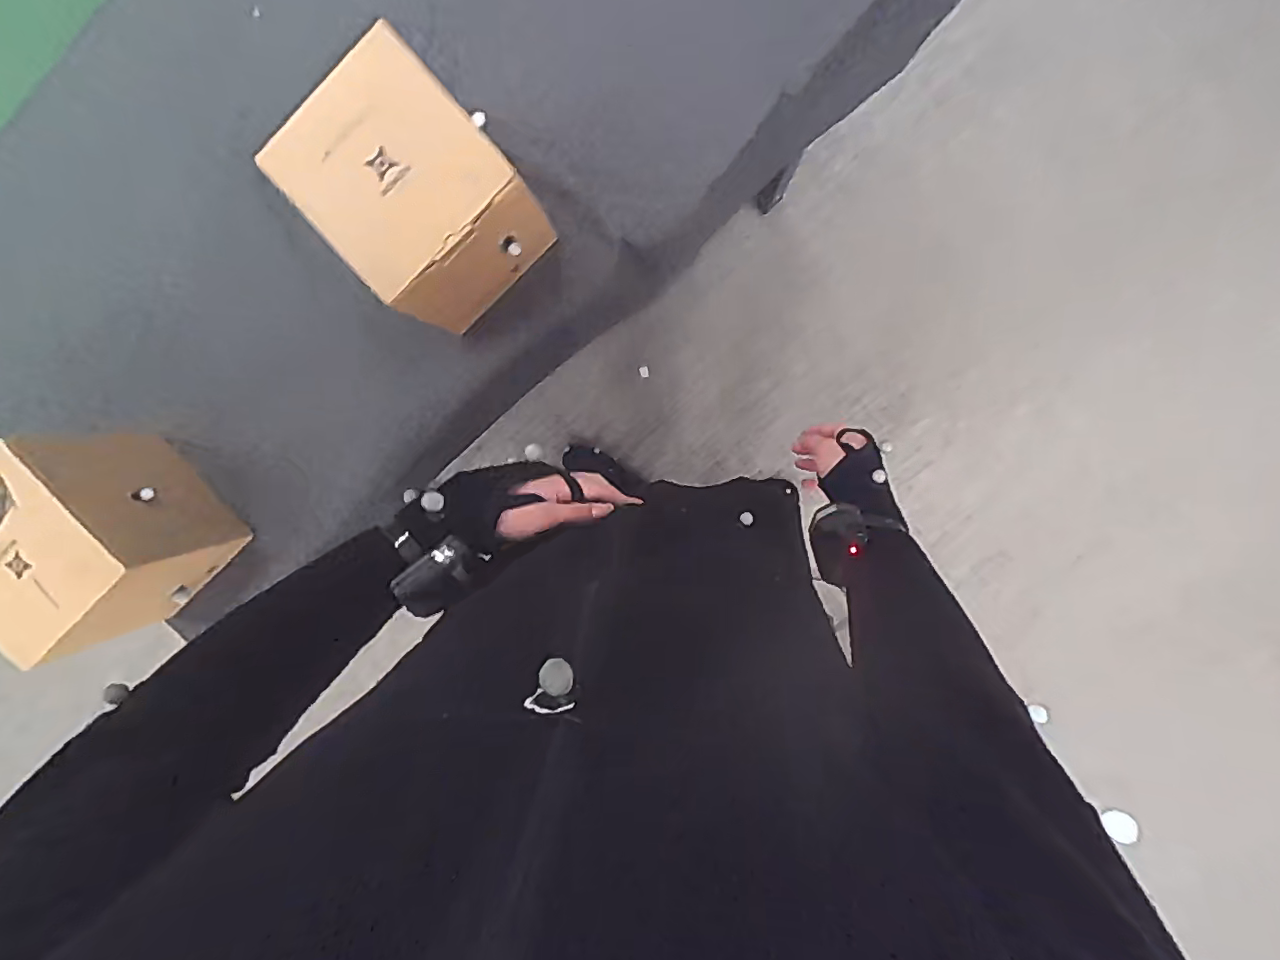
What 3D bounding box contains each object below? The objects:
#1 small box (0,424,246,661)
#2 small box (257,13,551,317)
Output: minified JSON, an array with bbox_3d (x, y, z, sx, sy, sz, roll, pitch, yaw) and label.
[{"bbox_3d":[-0.605,0.057,0.599,0.168,0.176,0.179,-41,93,6],"label":"small box"},{"bbox_3d":[-0.215,-0.286,0.546,0.168,0.176,0.179,-42,91,5],"label":"small box"}]
